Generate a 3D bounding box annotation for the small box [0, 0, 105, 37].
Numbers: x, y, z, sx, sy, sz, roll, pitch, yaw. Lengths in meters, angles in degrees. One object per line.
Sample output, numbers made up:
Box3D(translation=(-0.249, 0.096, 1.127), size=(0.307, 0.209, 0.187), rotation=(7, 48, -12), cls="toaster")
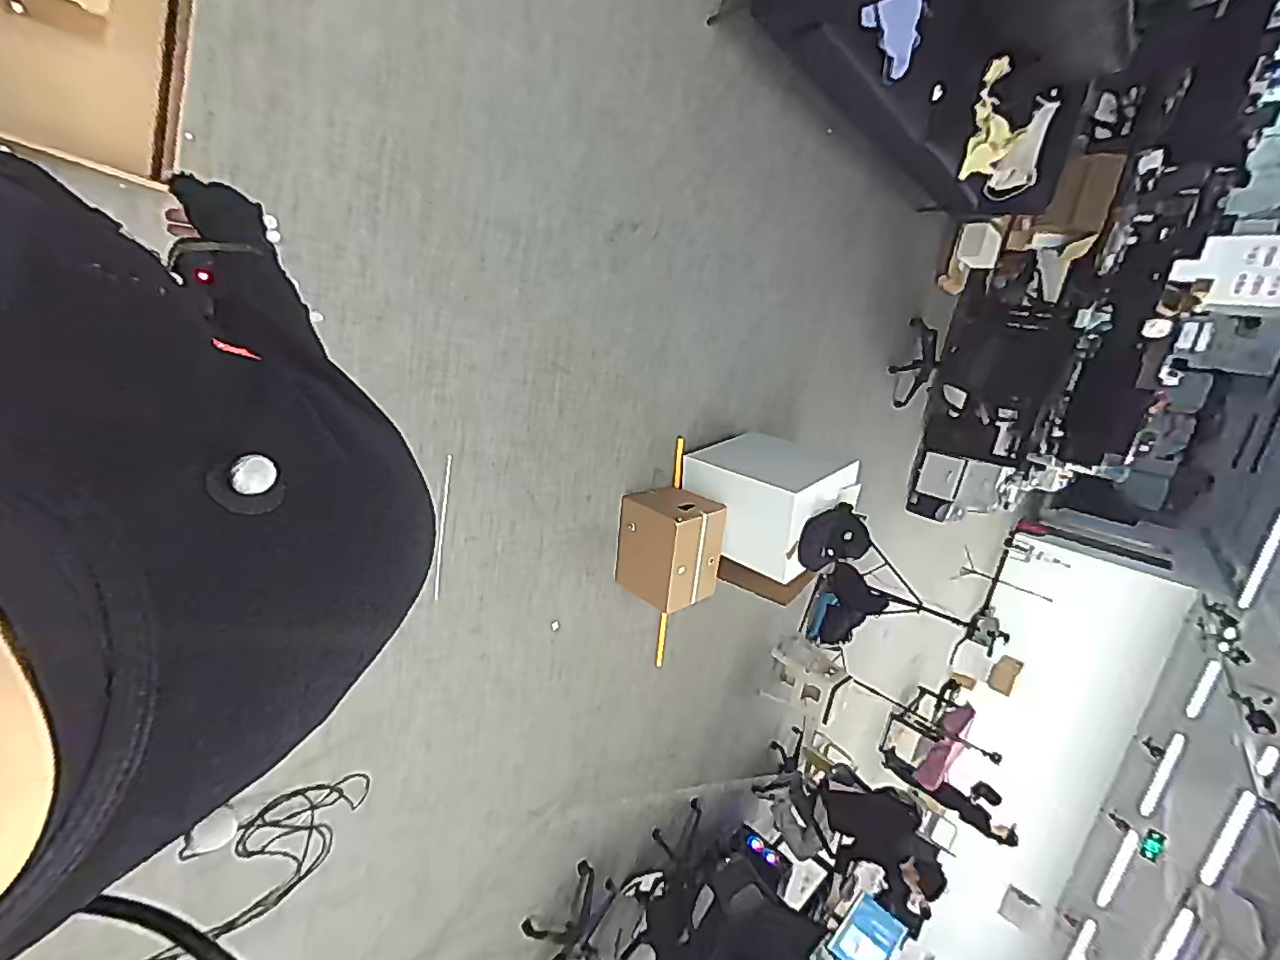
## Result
Box3D(translation=(-0.894, -0.794, 0.777), size=(0.168, 0.176, 0.179), rotation=(-3, 109, -47), cls="small box")
